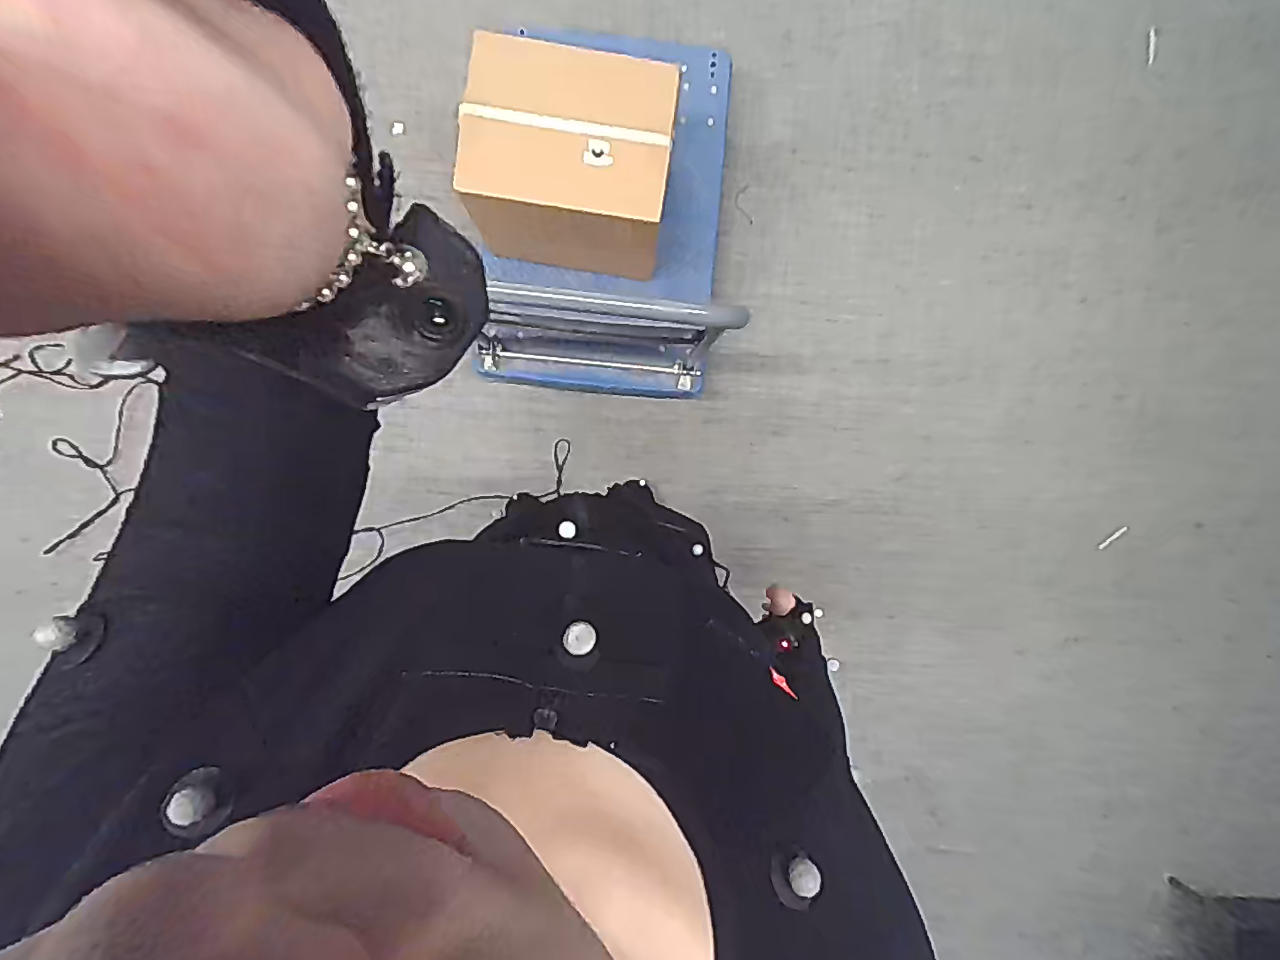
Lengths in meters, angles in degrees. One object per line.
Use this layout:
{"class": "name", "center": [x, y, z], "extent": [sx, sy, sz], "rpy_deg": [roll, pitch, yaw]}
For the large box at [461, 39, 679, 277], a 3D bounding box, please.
{"class": "large box", "center": [-0.146, -0.686, 1.209], "extent": [0.408, 0.320, 0.320], "rpy_deg": [8, 90, -3]}
